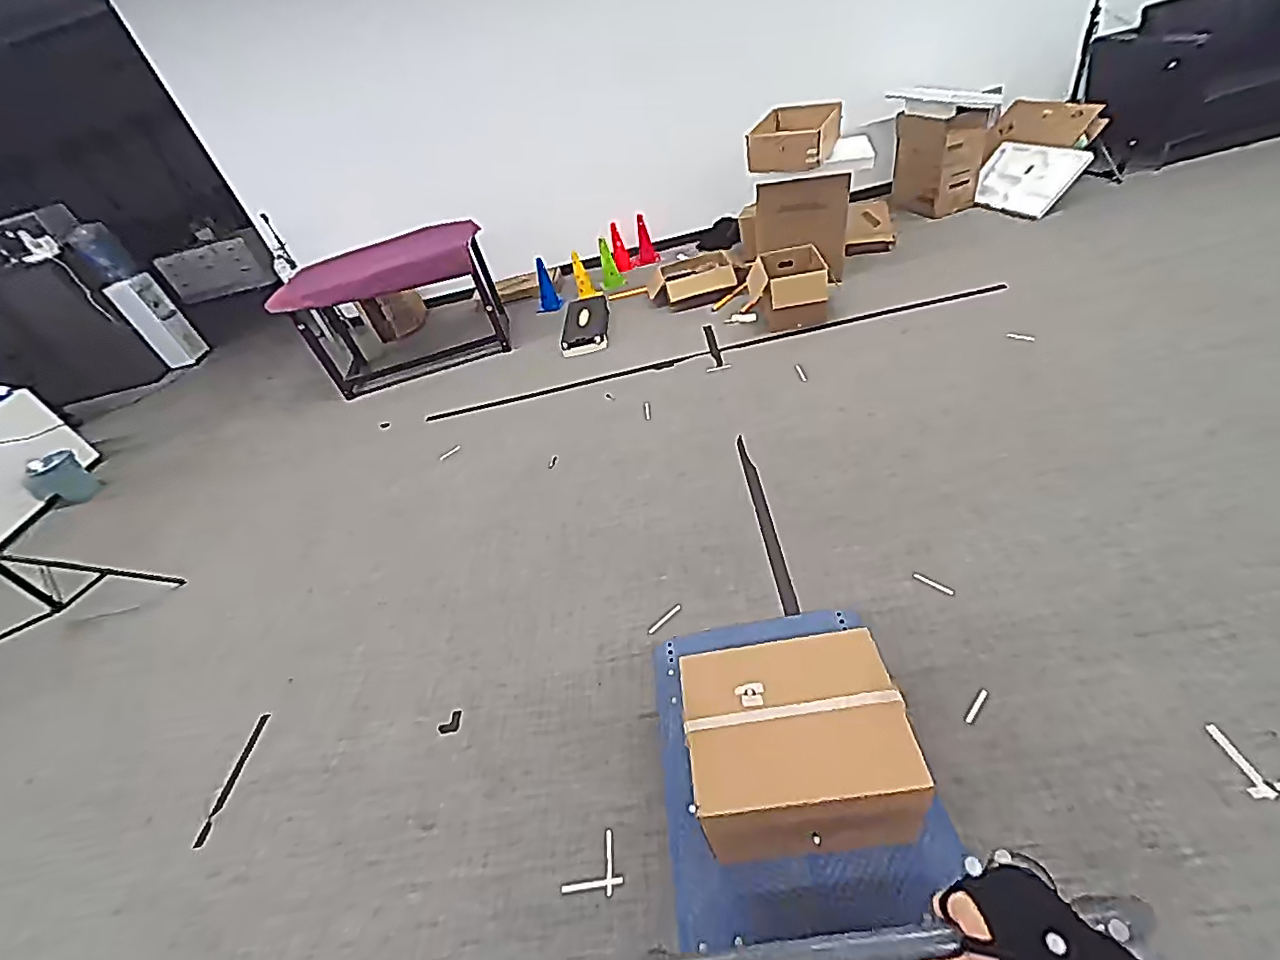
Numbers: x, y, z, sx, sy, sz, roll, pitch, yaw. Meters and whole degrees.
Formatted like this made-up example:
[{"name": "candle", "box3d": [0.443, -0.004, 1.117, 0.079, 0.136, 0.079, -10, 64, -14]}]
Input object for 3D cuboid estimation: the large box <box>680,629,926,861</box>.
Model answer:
[{"name": "large box", "box3d": [0.324, 0.565, 1.146, 0.408, 0.320, 0.320, -13, 39, 6]}]
